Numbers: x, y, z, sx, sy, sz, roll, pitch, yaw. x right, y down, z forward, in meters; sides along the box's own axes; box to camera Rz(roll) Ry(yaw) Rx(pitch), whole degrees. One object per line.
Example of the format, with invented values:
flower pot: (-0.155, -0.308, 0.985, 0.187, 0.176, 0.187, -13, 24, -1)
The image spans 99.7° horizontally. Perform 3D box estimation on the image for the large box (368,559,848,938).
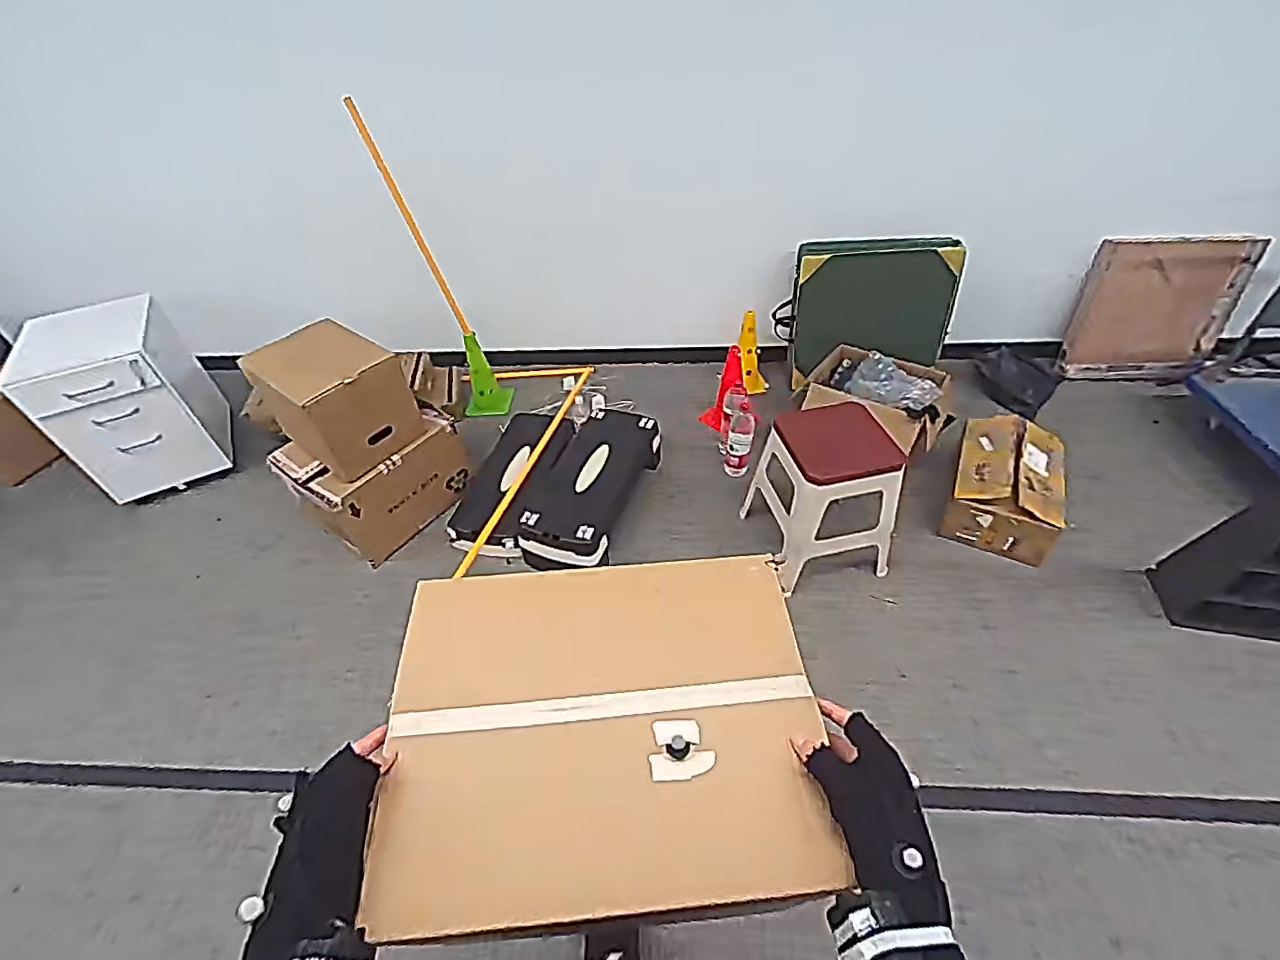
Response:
large box: (-0.035, 0.321, 0.648, 0.408, 0.320, 0.320, -3, 49, -3)
